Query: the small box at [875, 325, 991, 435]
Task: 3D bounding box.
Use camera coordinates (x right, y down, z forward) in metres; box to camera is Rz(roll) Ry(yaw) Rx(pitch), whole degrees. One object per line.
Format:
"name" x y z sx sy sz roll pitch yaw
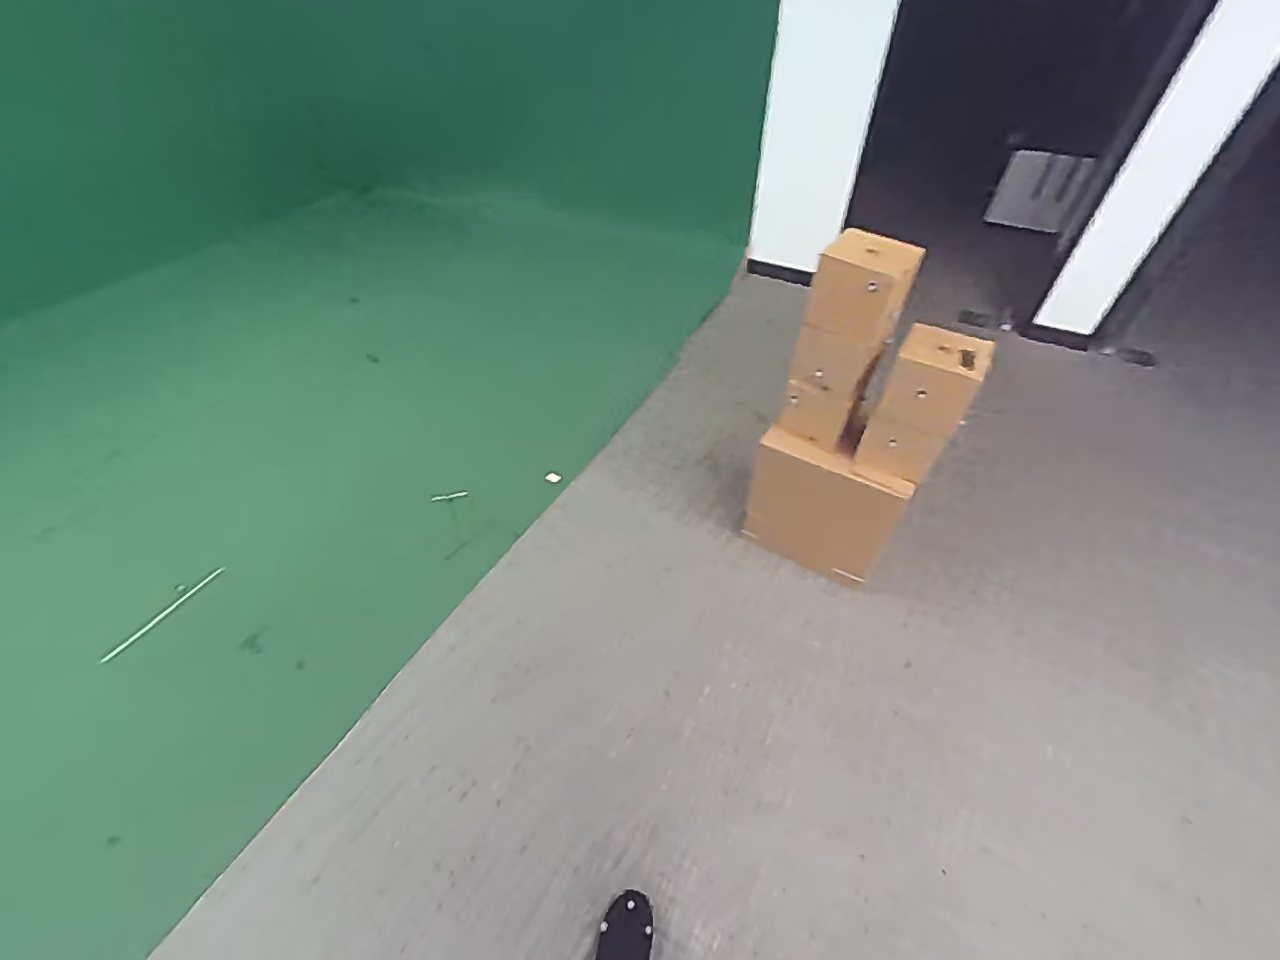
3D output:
"small box" 0.676 -0.228 1.258 0.179 0.176 0.168 23 52 23

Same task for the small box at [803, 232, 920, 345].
"small box" 0.495 -0.433 1.229 0.179 0.176 0.168 30 55 24
